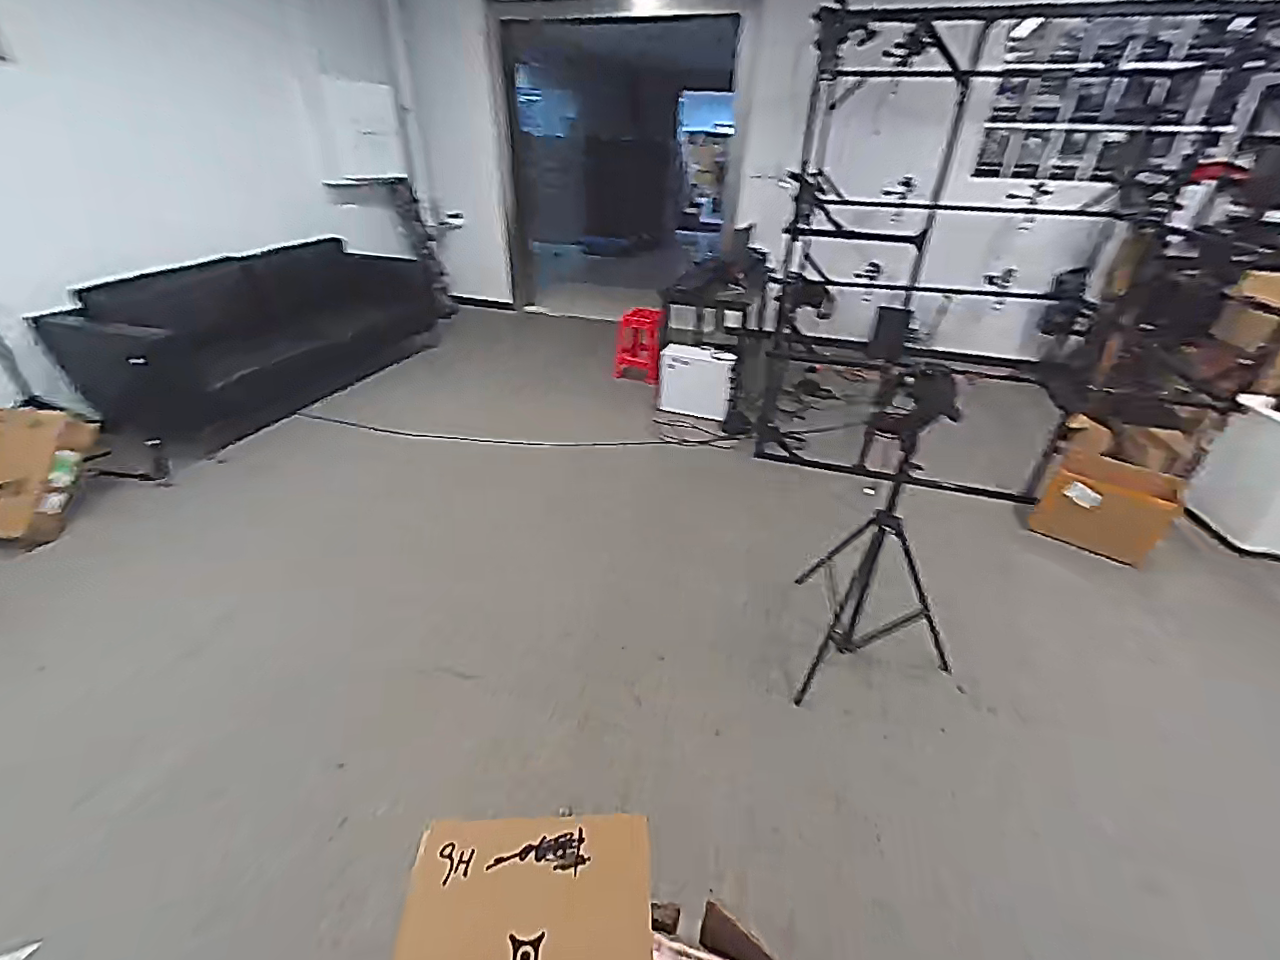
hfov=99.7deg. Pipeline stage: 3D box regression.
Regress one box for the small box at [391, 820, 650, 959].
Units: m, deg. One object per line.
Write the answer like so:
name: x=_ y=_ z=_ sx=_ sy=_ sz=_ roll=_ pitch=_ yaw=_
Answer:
small box: x=-0.075 y=0.370 z=0.387 sx=0.168 sy=0.176 sz=0.179 roll=-2 pitch=43 yaw=-3
